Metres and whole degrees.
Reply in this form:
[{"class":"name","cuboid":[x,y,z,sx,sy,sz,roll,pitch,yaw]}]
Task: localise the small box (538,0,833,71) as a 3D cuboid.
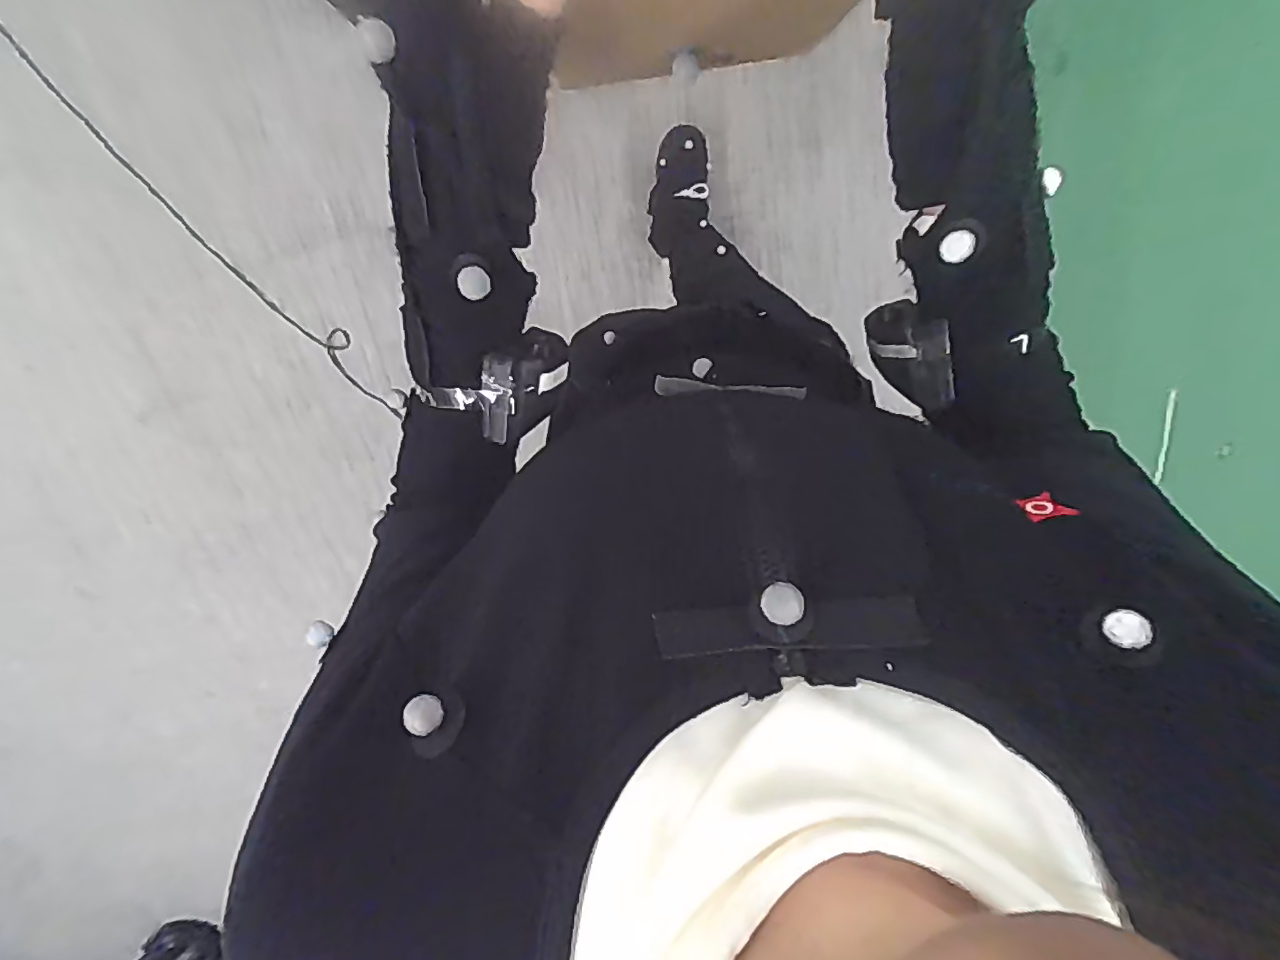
[{"class":"small box","cuboid":[0.019,-0.319,0.238,0.168,0.176,0.179,-7,114,1]}]
